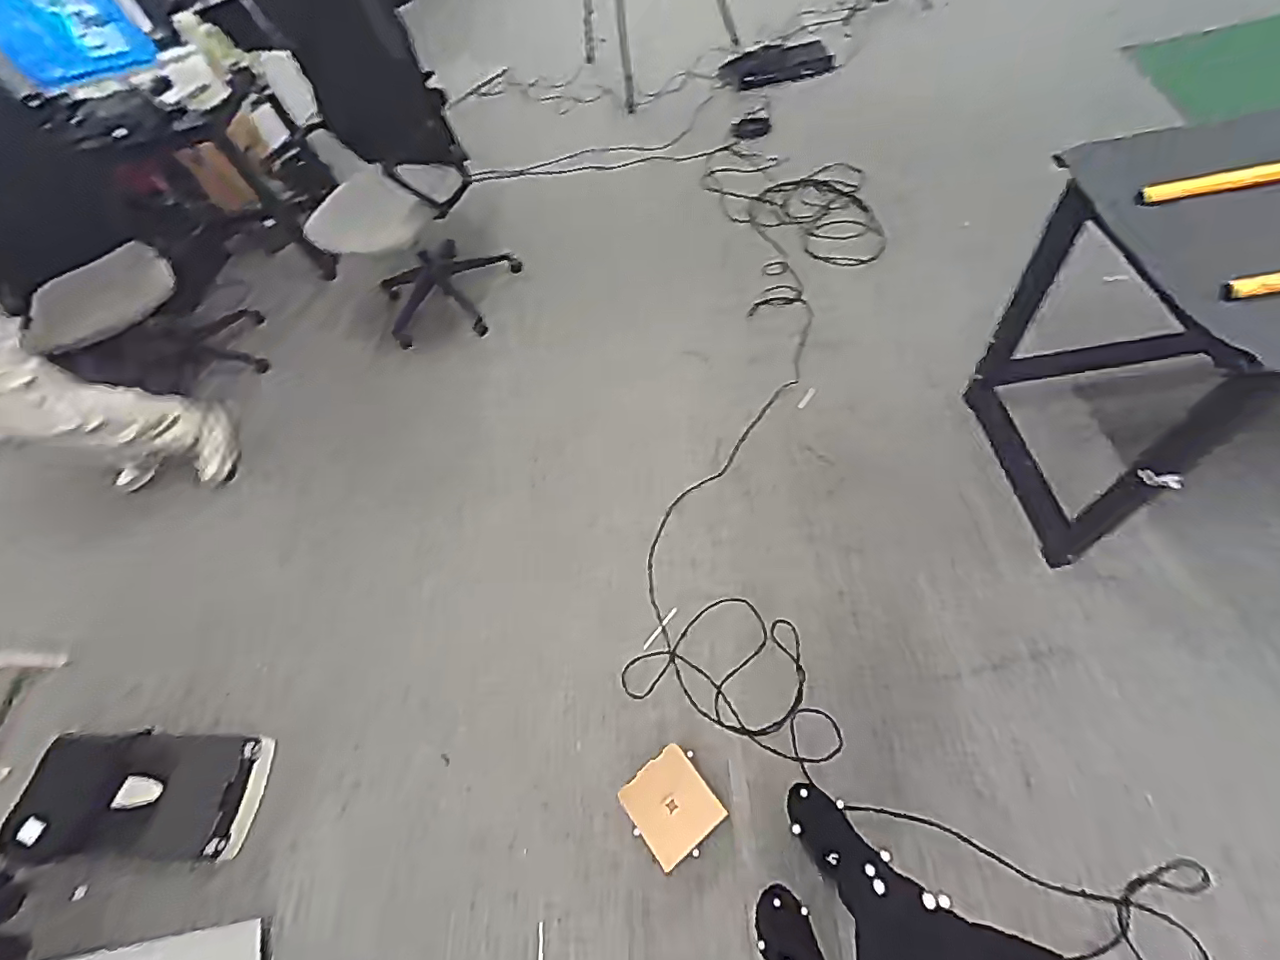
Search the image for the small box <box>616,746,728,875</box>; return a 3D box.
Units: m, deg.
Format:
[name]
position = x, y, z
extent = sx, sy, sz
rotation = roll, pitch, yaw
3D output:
[small box]
position = 0.077, 0.717, 1.188
extent = 0.168, 0.176, 0.179
rotation = -39, 59, -12
